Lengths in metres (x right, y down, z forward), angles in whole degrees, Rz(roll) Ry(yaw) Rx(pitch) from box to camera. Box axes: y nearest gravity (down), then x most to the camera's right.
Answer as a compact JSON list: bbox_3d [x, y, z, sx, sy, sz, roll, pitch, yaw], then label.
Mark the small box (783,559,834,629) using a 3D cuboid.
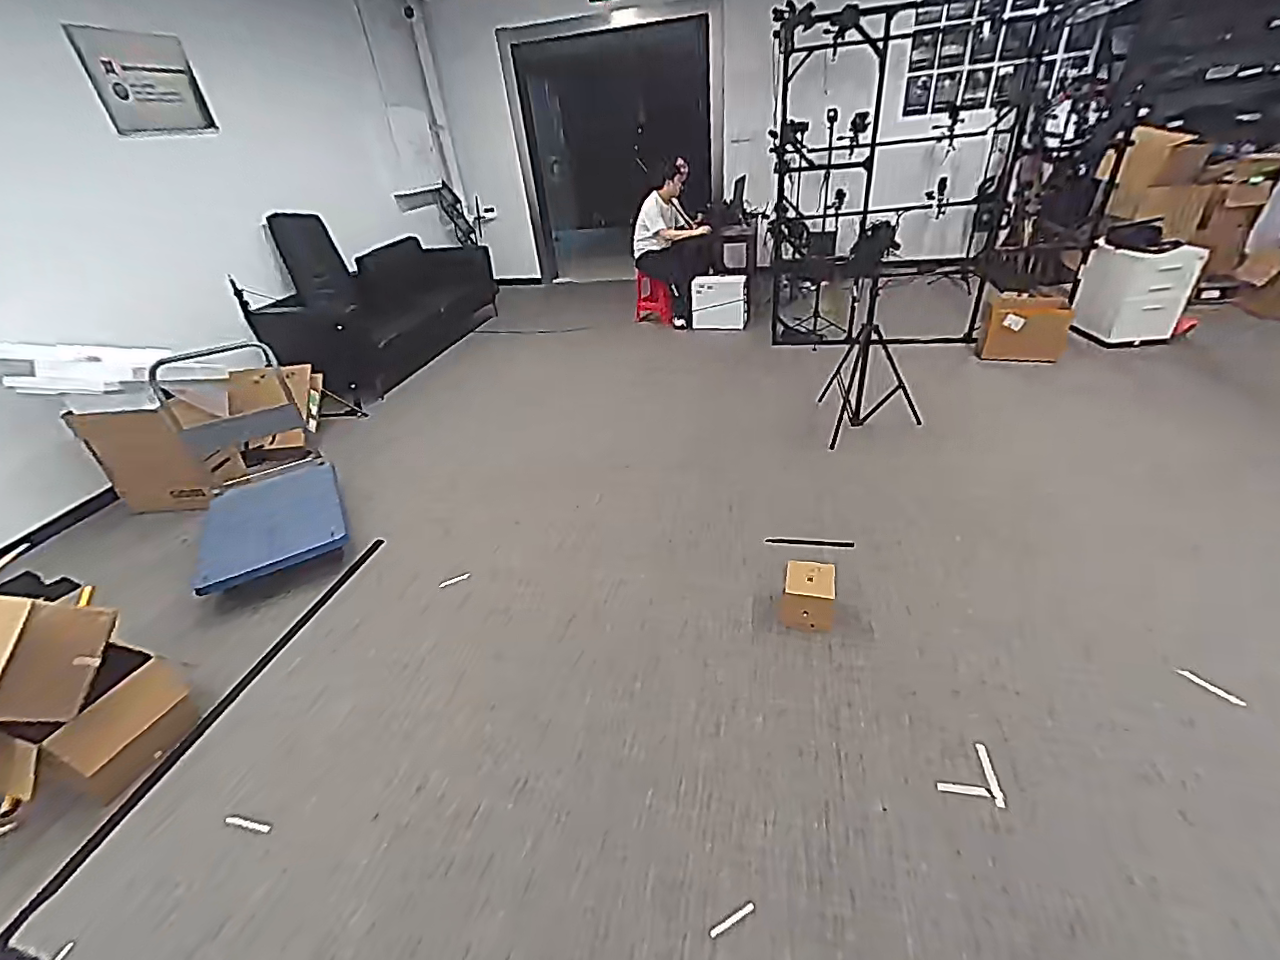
[{"bbox_3d":[0.610,0.414,1.957,0.168,0.176,0.179,5,34,16],"label":"small box"}]
